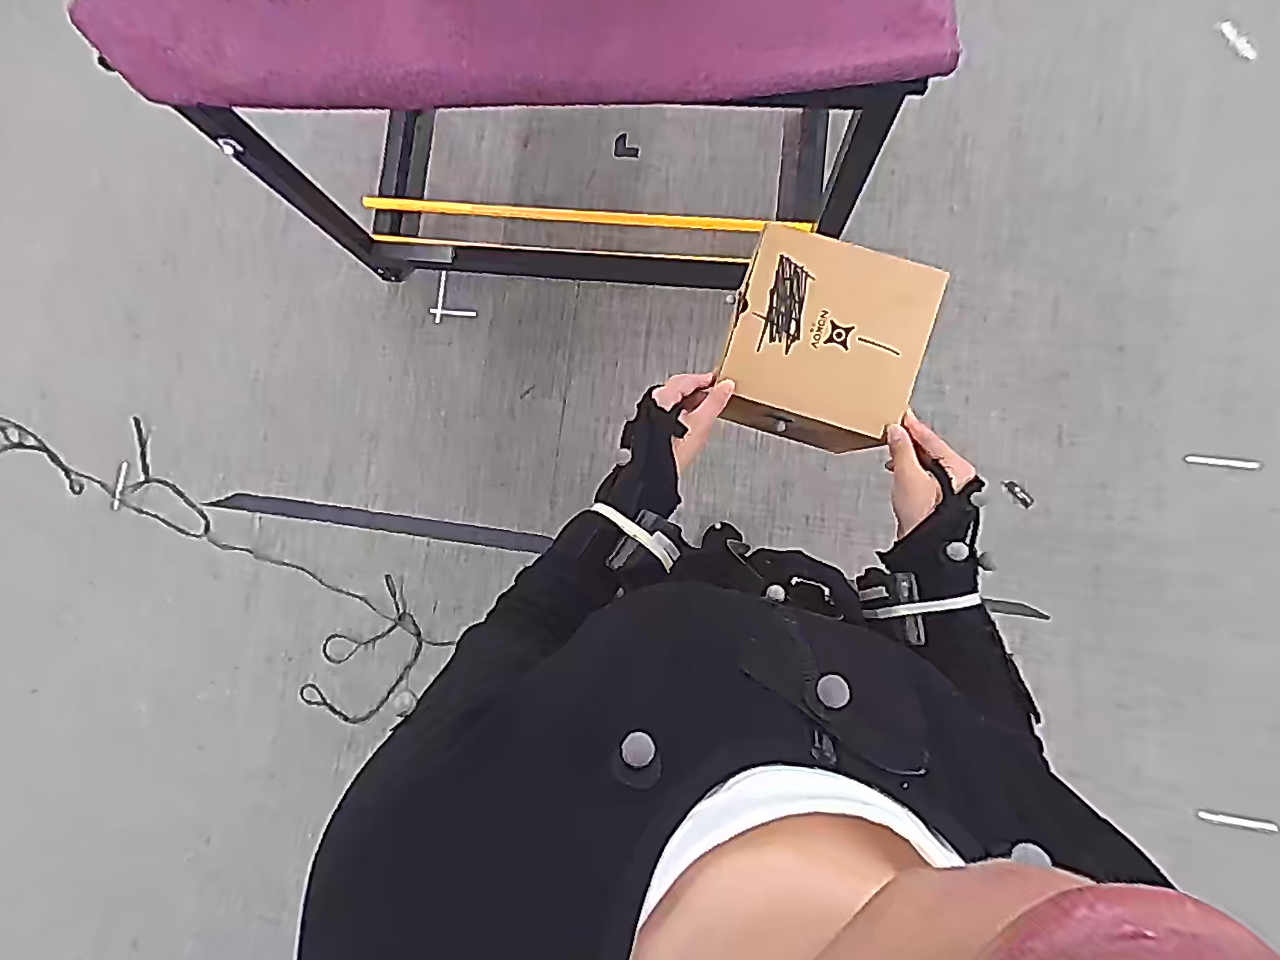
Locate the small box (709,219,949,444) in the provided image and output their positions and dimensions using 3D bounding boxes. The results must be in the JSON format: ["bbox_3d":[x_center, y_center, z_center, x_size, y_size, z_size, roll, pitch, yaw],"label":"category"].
[{"bbox_3d":[0.181,-0.141,0.578,0.179,0.176,0.168,17,91,2],"label":"small box"}]
